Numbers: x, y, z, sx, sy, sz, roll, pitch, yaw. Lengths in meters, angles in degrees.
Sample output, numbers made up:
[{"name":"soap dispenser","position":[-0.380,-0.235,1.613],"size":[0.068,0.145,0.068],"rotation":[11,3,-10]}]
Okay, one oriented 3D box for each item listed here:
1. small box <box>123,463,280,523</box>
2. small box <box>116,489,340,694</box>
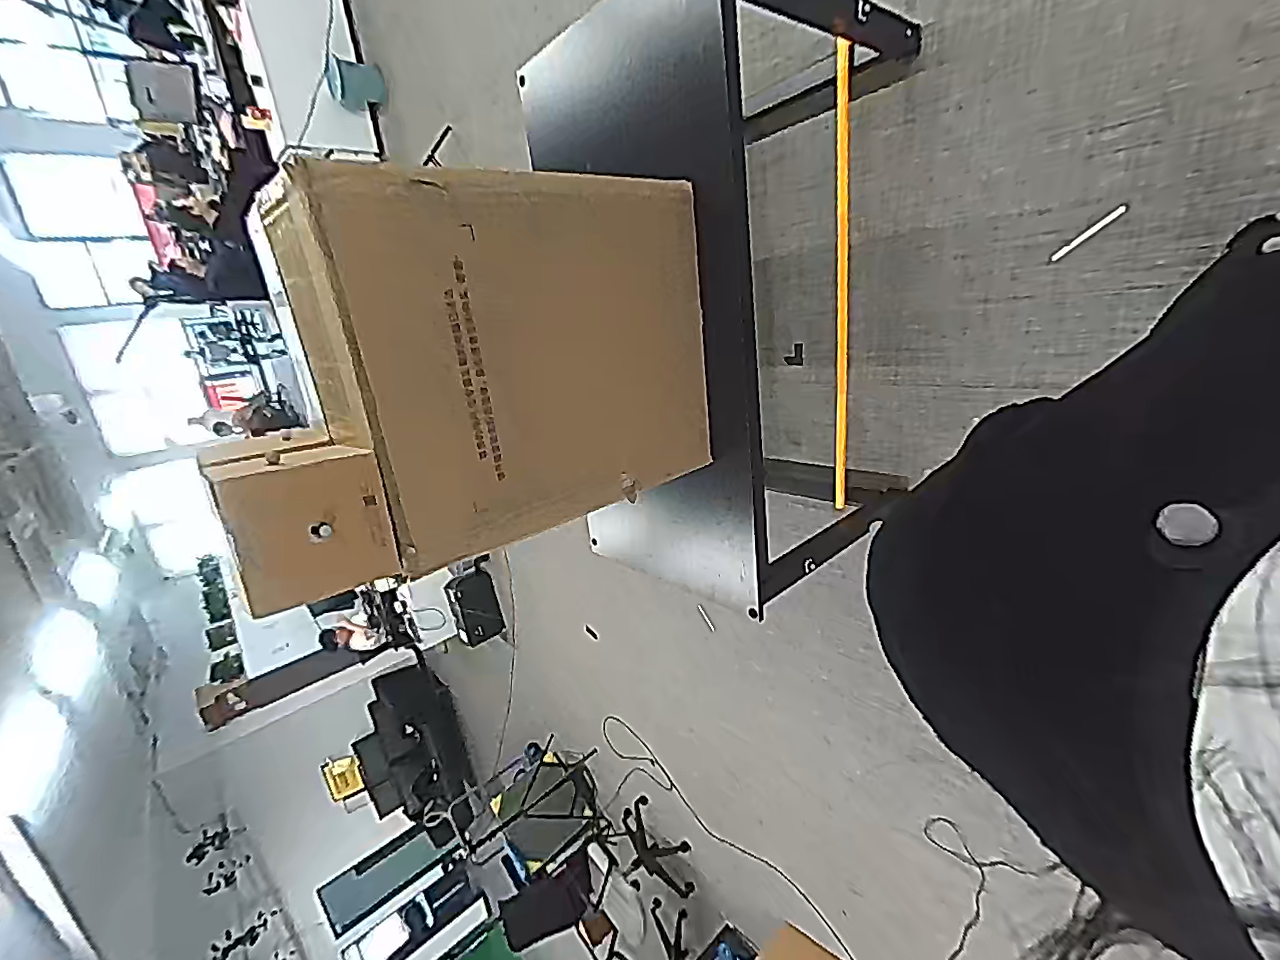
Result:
[{"name":"small box","position":[-0.611,0.088,0.795],"size":[0.168,0.176,0.179],"rotation":[16,118,49]},{"name":"small box","position":[-0.477,0.113,0.639],"size":[0.179,0.176,0.168],"rotation":[5,108,47]}]
